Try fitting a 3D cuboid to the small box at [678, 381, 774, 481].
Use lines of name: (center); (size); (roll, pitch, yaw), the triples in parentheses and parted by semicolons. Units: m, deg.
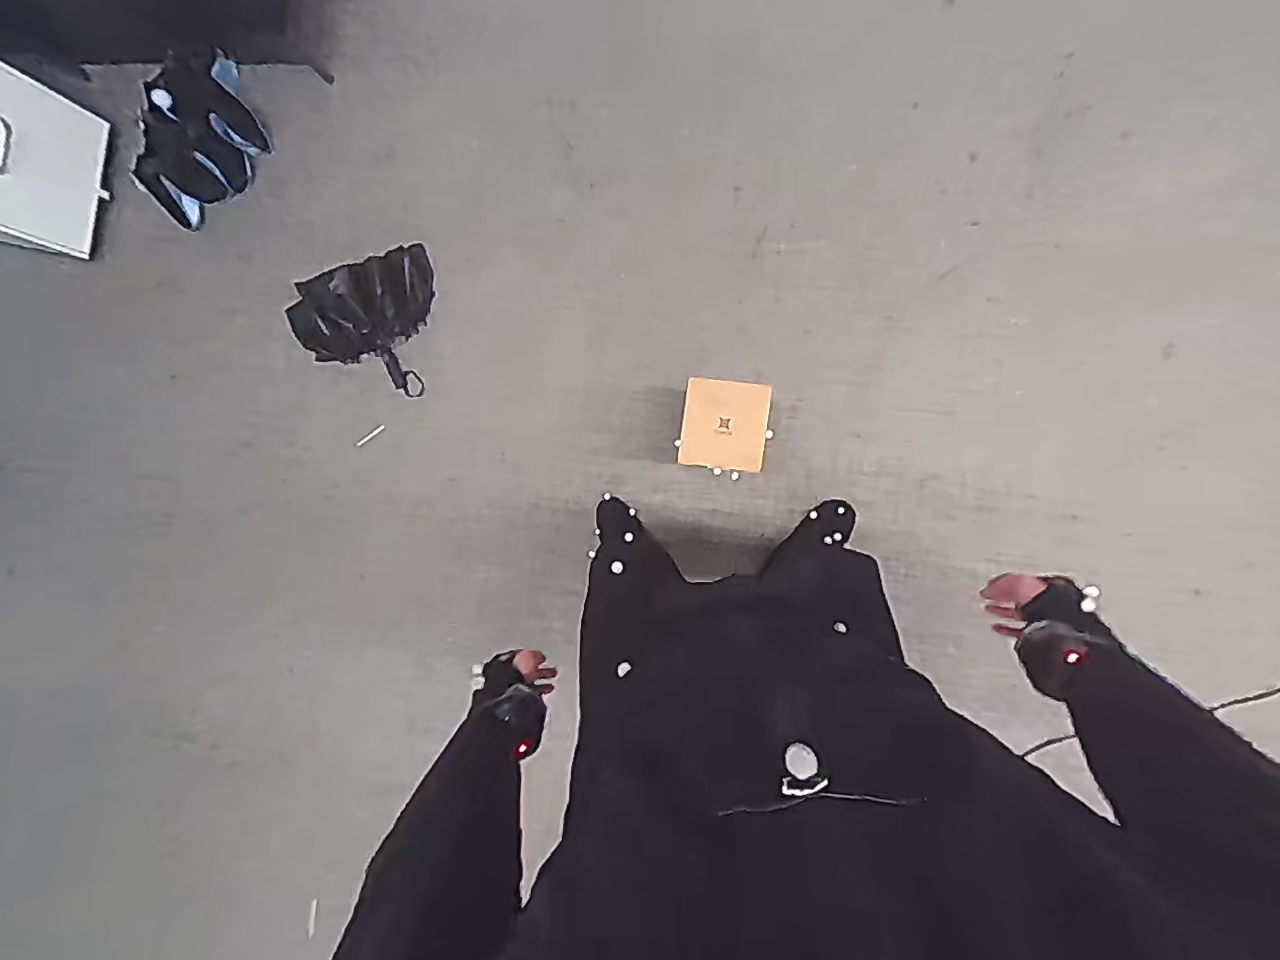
small box: (0.175, -0.096, 1.109); (0.168, 0.176, 0.179); (7, 92, 8)
